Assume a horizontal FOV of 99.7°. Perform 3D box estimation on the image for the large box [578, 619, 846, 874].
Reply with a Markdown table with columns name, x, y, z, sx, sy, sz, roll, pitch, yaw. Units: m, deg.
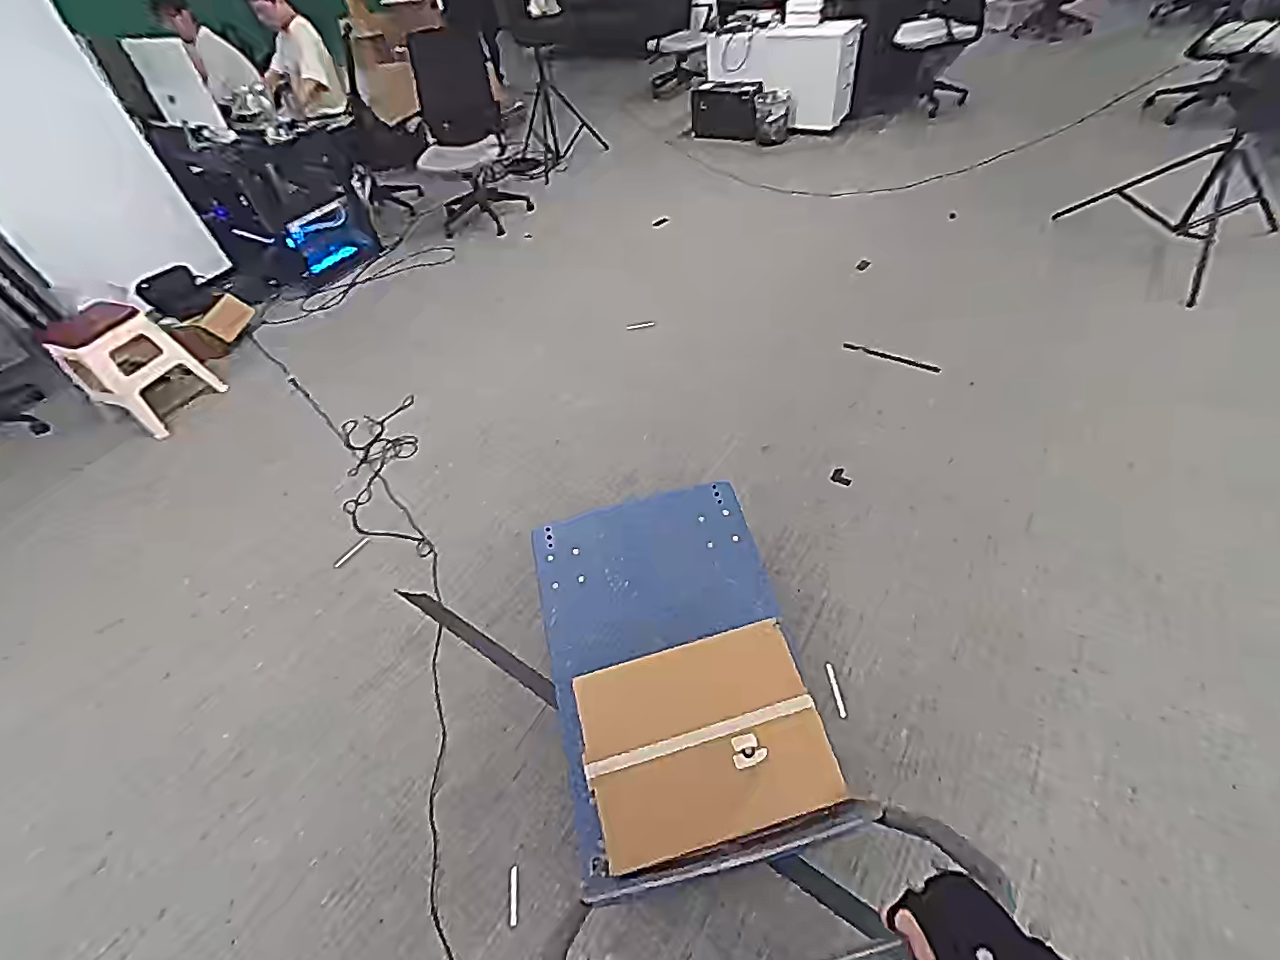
| name | x | y | z | sx | sy | sz | roll | pitch | yaw |
| --- | --- | --- | --- | --- | --- | --- | --- | --- | --- |
| large box | 0.123 | 0.526 | 1.080 | 0.408 | 0.320 | 0.320 | -16 | 60 | -5 |
